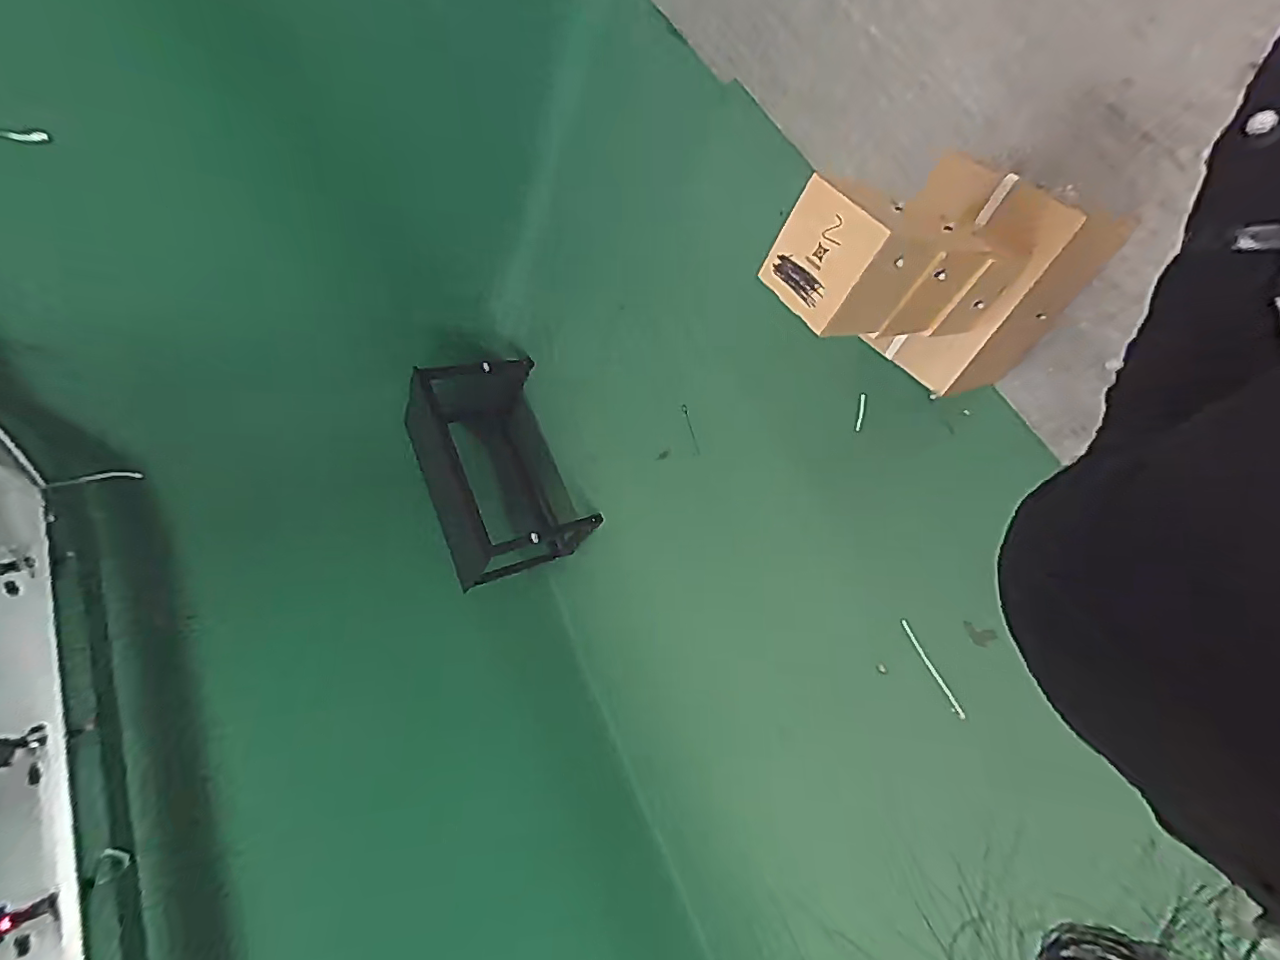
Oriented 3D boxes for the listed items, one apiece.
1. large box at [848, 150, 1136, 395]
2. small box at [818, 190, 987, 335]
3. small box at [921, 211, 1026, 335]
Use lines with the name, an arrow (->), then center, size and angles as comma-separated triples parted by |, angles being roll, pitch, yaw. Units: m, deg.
large box -> 0.766, -0.462, 1.220 | 0.320, 0.320, 0.408 | 53, 141, 31
small box -> 0.462, -0.380, 0.959 | 0.168, 0.176, 0.179 | 56, 141, 25
small box -> 0.594, -0.407, 1.049 | 0.179, 0.176, 0.168 | 55, 141, 26
